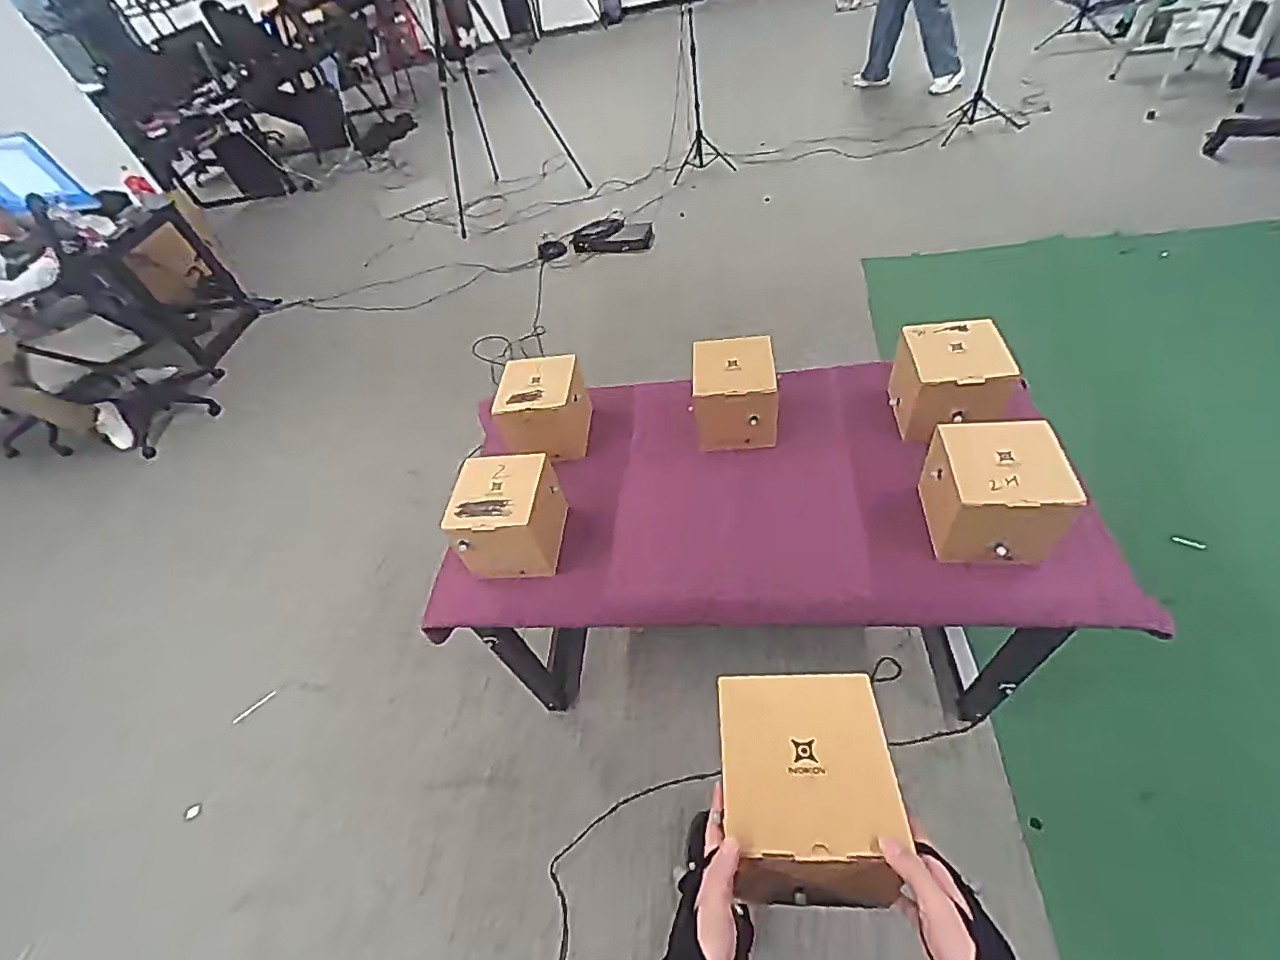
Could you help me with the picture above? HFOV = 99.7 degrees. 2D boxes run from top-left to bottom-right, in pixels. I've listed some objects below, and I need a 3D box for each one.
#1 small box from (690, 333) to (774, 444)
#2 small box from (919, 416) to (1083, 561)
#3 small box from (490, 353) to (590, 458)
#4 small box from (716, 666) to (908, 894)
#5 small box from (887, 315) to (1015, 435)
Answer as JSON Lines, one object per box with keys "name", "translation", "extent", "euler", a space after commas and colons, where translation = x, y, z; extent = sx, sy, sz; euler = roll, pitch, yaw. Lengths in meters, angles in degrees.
{"name": "small box", "translation": [0.199, -0.189, 1.164], "extent": [0.168, 0.176, 0.179], "euler": [-3, 51, 10]}
{"name": "small box", "translation": [0.580, 0.015, 0.901], "extent": [0.168, 0.176, 0.179], "euler": [-2, 50, 14]}
{"name": "small box", "translation": [-0.218, -0.163, 1.235], "extent": [0.168, 0.176, 0.179], "euler": [-4, 50, 9]}
{"name": "small box", "translation": [0.171, 0.327, 0.597], "extent": [0.168, 0.176, 0.179], "euler": [-4, 42, 8]}
{"name": "small box", "translation": [0.606, -0.201, 1.079], "extent": [0.168, 0.176, 0.179], "euler": [-3, 52, 11]}
